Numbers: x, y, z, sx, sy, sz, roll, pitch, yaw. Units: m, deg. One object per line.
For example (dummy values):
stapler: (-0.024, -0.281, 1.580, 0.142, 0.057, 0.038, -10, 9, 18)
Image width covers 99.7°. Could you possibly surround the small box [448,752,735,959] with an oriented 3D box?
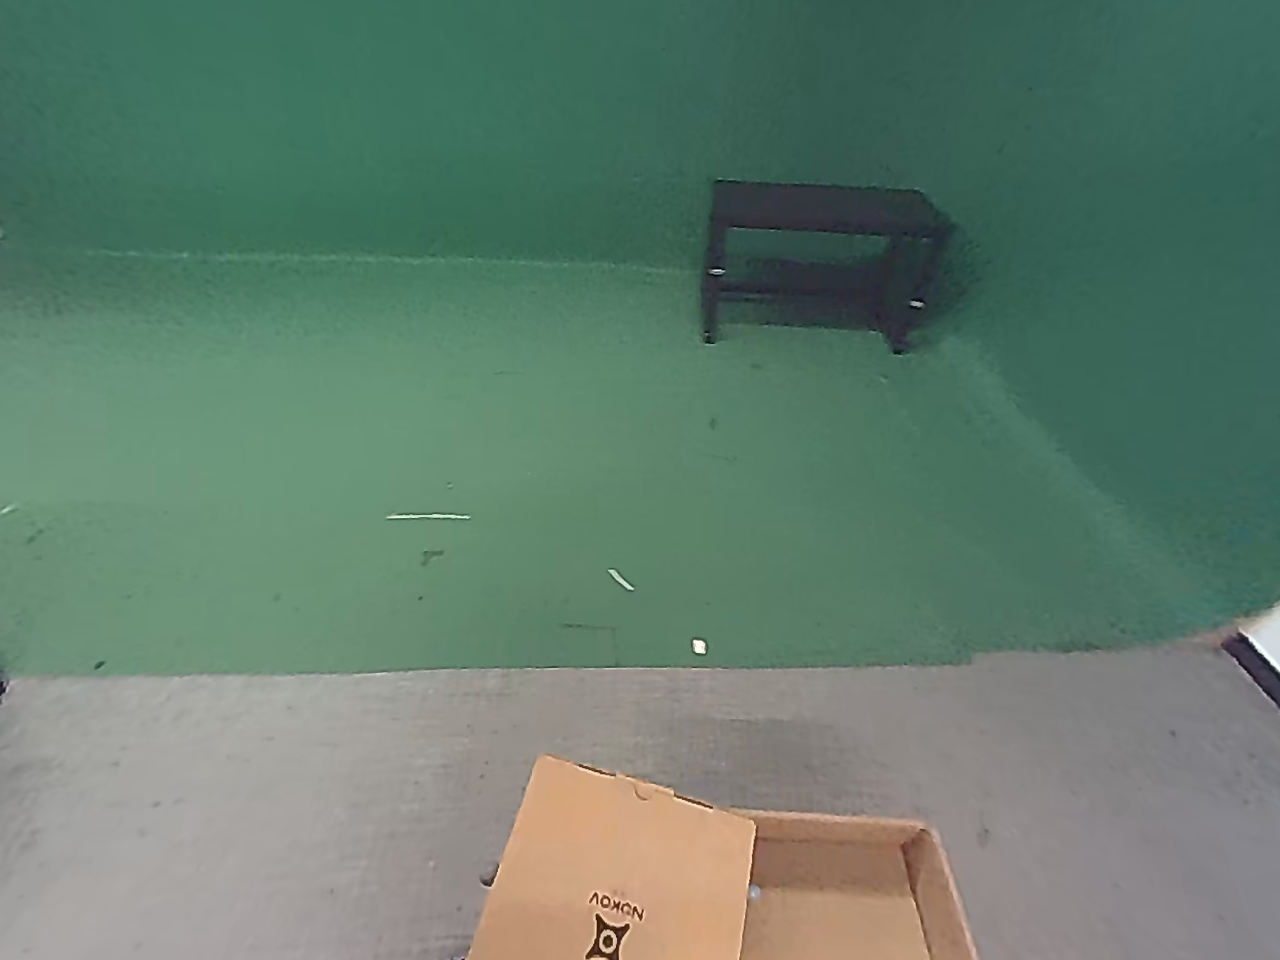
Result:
small box: (-0.034, 0.338, 0.406, 0.168, 0.176, 0.179, 13, 50, 6)
